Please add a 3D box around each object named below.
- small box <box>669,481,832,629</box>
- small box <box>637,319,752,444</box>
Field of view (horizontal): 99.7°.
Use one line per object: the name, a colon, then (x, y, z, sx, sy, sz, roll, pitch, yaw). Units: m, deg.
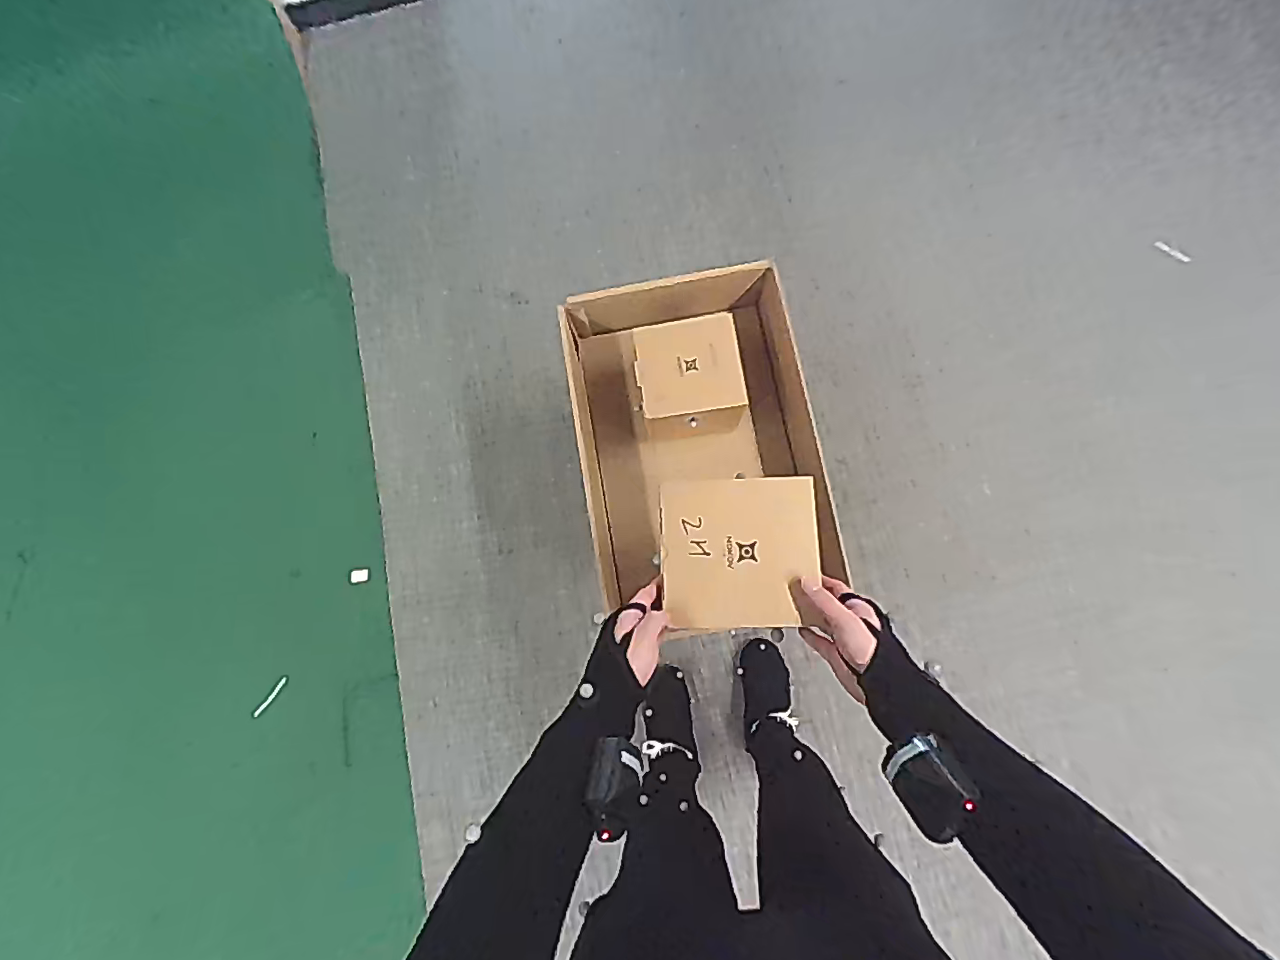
small box: (0.125, 0.097, 0.678, 0.179, 0.176, 0.168, -1, 77, 4)
small box: (0.093, -0.170, 0.982, 0.179, 0.176, 0.168, -7, 79, 0)
